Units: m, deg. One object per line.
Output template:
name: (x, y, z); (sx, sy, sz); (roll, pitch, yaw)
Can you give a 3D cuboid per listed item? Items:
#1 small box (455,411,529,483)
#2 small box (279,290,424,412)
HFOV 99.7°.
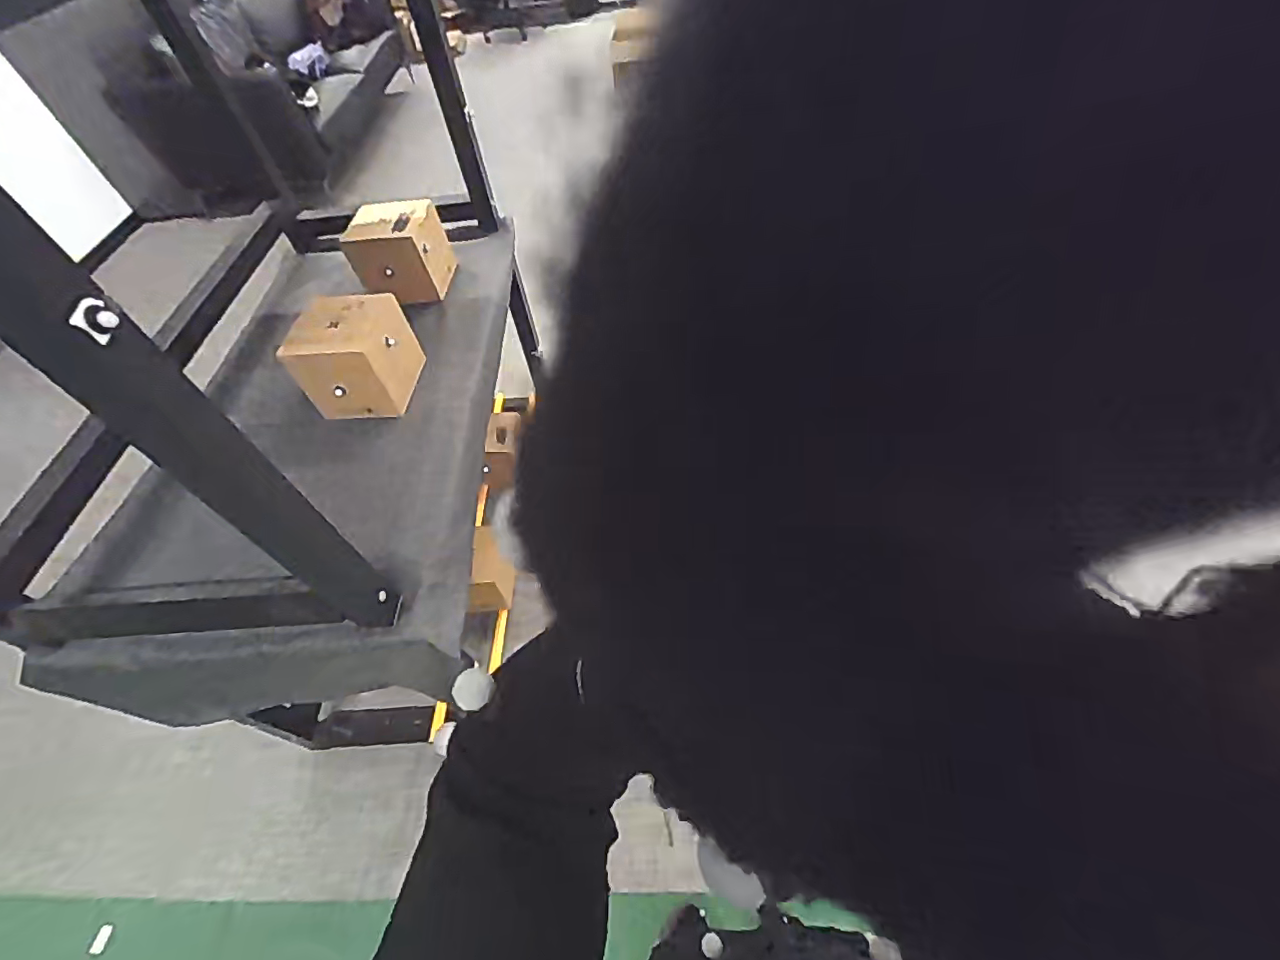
small box: (-0.464, -0.104, 1.730); (0.179, 0.176, 0.168); (-1, 53, 4)
small box: (-0.551, -0.247, 1.063); (0.168, 0.176, 0.179); (-1, 53, 4)
